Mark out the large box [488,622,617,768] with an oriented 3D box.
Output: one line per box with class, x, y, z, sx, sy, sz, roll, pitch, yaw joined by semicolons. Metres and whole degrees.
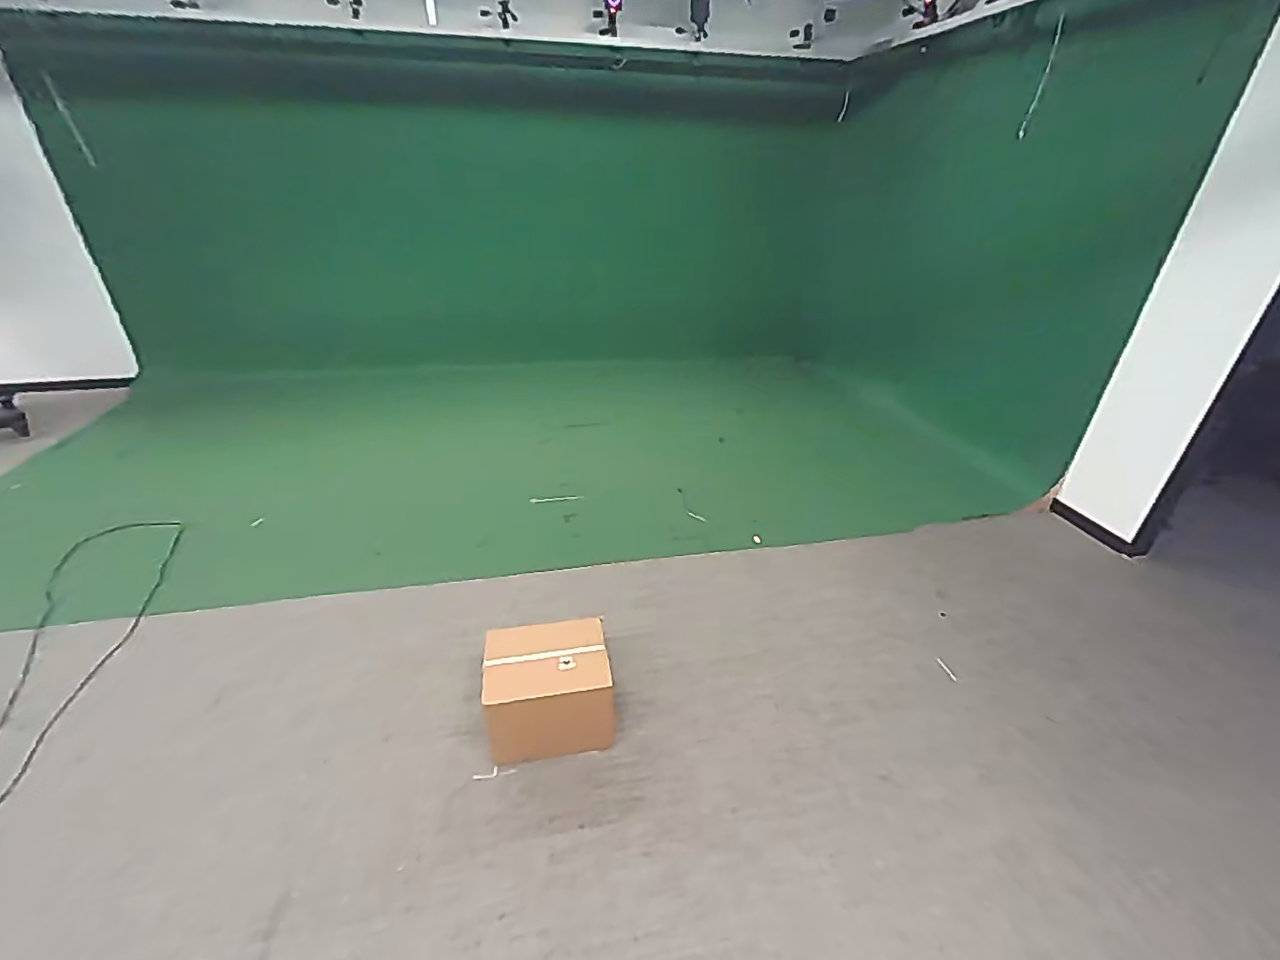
large box;-0.301;0.732;1.862;0.408;0.320;0.320;-4;30;-10
